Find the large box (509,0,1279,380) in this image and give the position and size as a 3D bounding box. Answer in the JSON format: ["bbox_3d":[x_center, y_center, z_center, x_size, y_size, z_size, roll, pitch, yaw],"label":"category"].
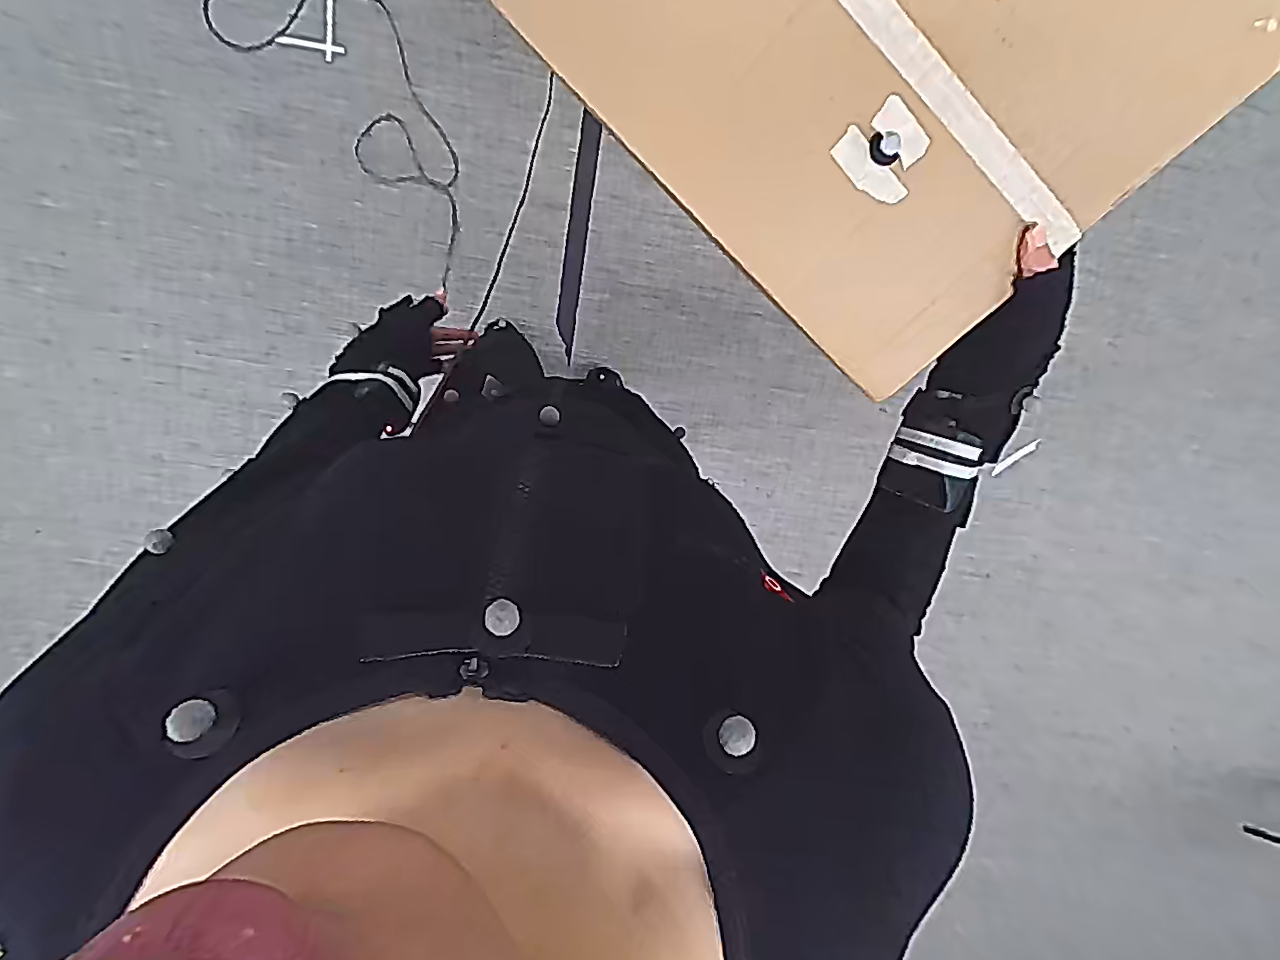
[{"bbox_3d":[0.170,-0.362,0.489,0.408,0.320,0.320,42,113,-9],"label":"large box"}]
